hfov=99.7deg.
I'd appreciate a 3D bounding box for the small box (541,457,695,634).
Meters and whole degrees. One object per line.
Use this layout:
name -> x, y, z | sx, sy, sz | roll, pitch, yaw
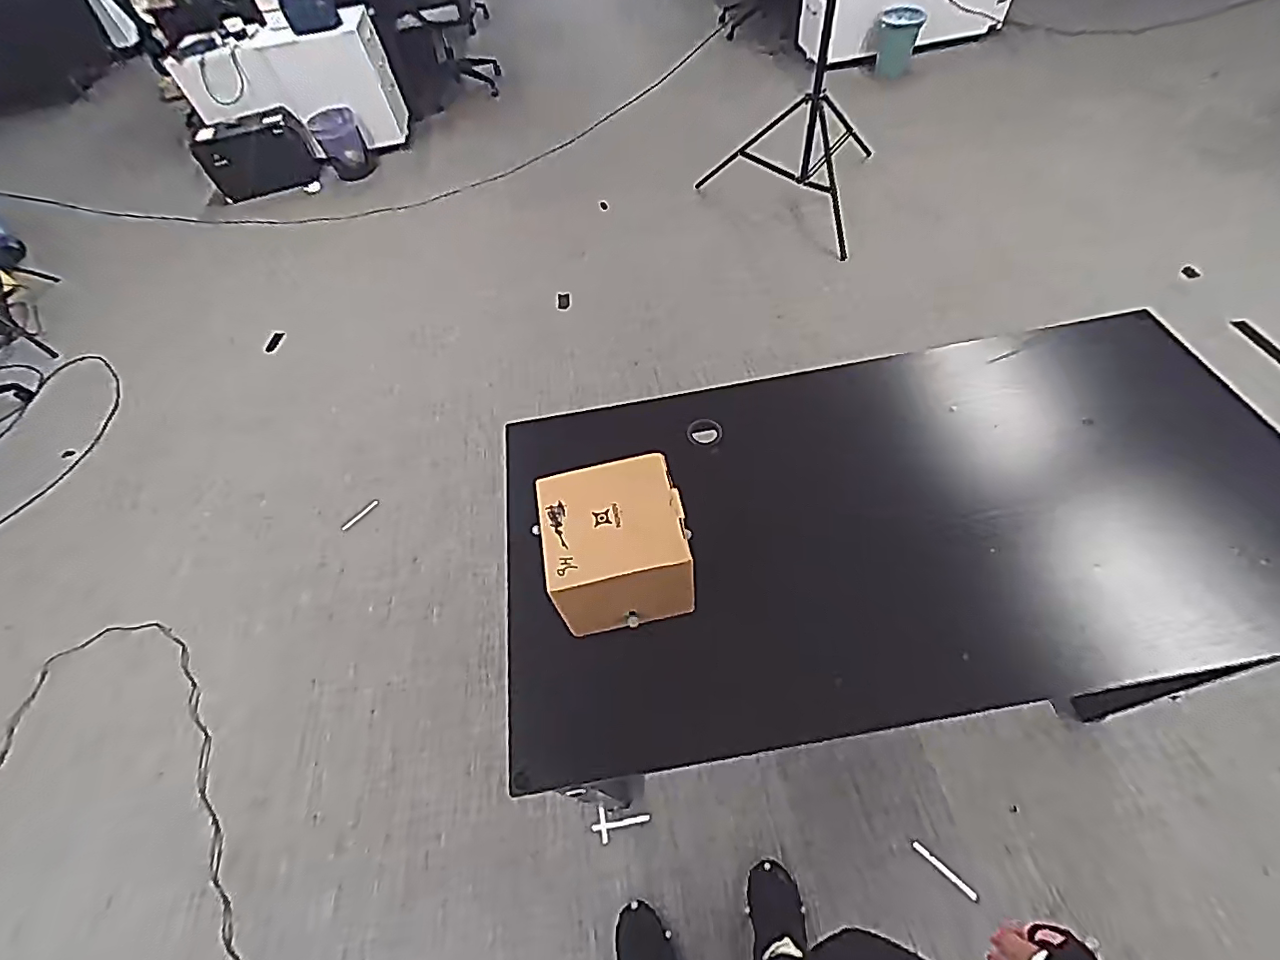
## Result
small box -> -0.029, 0.094, 0.745 | 0.179, 0.176, 0.168 | -11, 55, -2
